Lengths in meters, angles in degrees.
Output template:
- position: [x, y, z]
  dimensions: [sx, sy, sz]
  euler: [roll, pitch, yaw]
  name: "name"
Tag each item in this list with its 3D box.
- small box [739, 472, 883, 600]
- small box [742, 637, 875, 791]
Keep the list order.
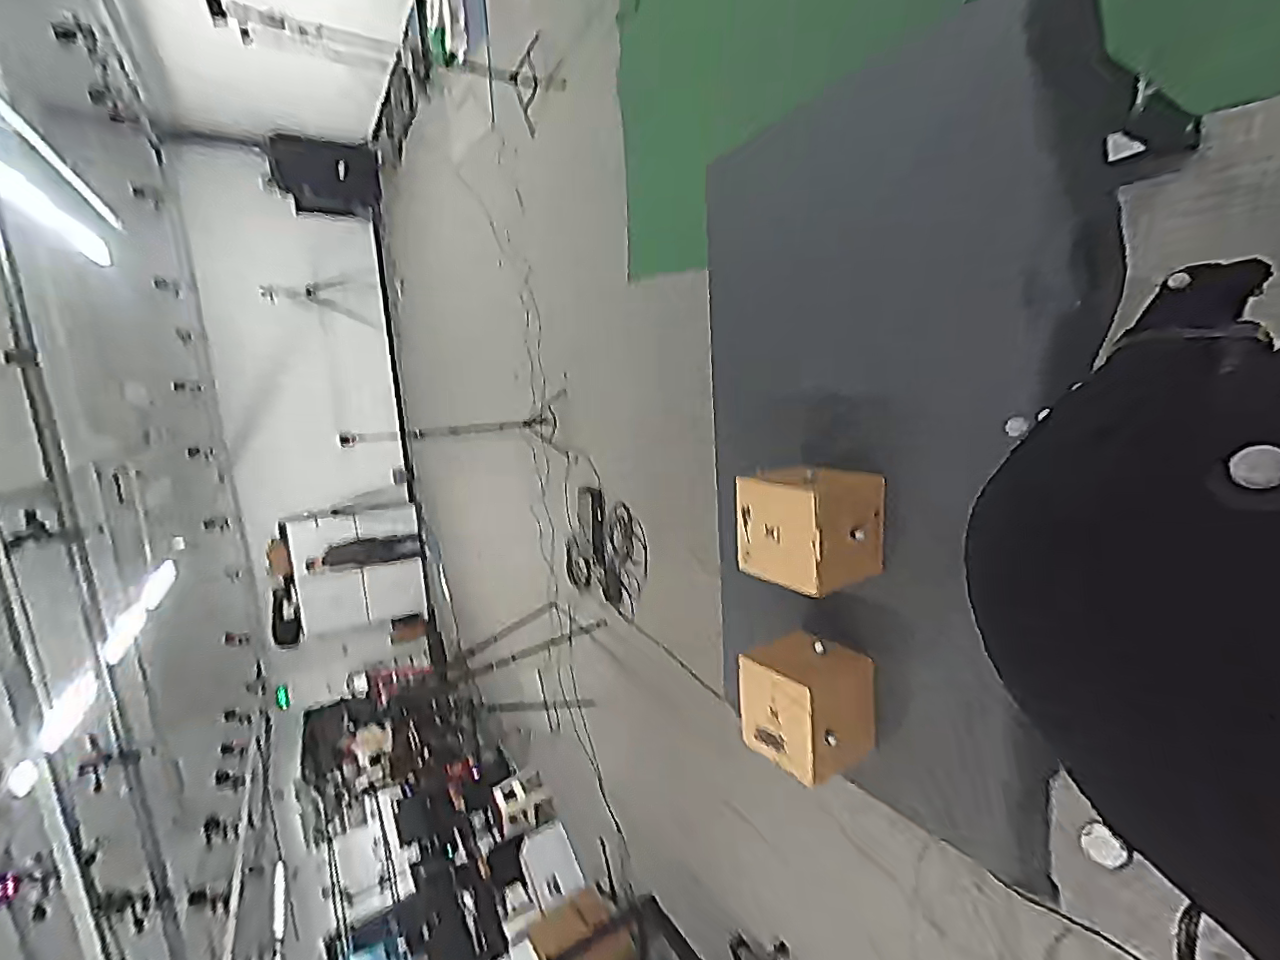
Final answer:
- position: [0.291, 0.083, 0.921]
  dimensions: [0.179, 0.176, 0.168]
  euler: [11, 107, 56]
  name: "small box"
- position: [0.306, 0.409, 0.978]
  dimensions: [0.168, 0.176, 0.179]
  euler: [7, 102, 57]
  name: "small box"
